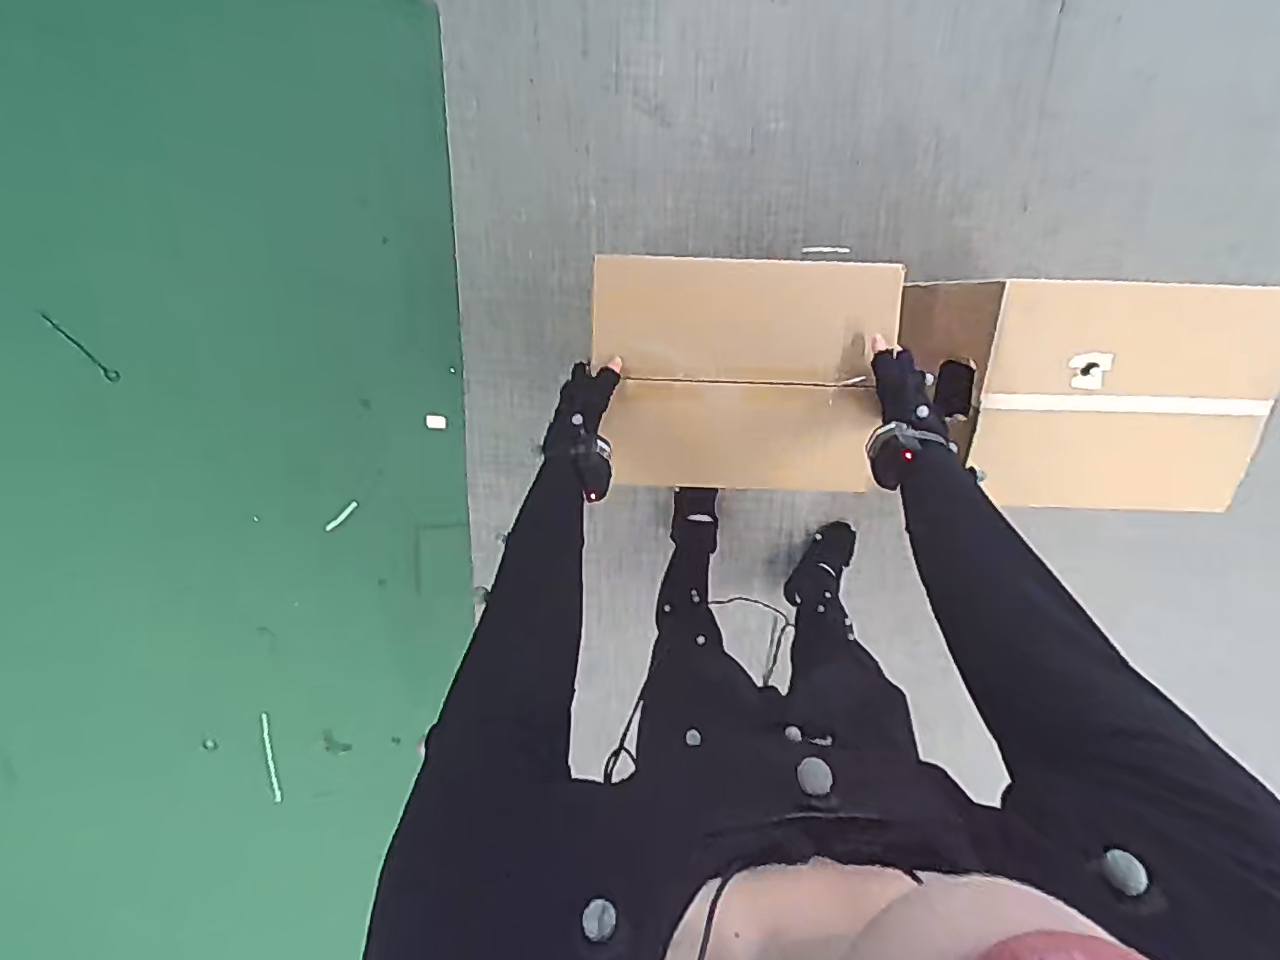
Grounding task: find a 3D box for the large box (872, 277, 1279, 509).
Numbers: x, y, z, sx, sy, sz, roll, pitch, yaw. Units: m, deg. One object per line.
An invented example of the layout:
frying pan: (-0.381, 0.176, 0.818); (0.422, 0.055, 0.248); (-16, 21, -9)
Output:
large box: (0.654, -0.157, 0.875); (0.408, 0.320, 0.320); (2, 108, 1)
